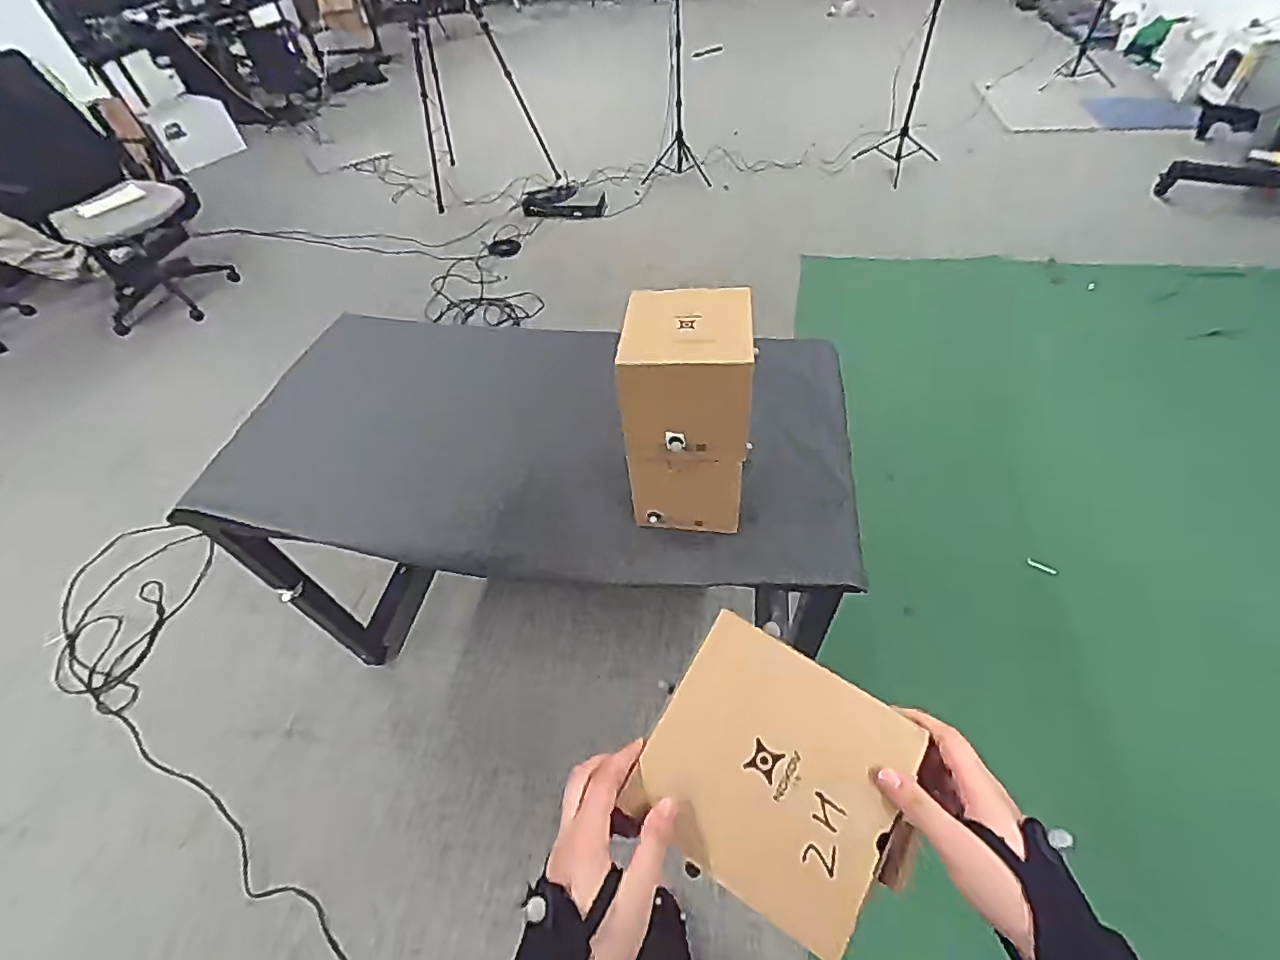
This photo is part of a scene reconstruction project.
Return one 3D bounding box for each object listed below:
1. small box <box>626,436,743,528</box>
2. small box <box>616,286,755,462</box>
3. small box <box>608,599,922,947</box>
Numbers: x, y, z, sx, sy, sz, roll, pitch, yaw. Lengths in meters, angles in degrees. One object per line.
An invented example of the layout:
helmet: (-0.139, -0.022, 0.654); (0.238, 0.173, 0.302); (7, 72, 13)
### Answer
small box: (0.080, -0.041, 0.867); (0.168, 0.176, 0.179); (4, 48, 10)
small box: (0.067, -0.145, 0.743); (0.168, 0.176, 0.179); (1, 49, 8)
small box: (0.094, 0.228, 0.466); (0.179, 0.176, 0.168); (30, 75, 13)
